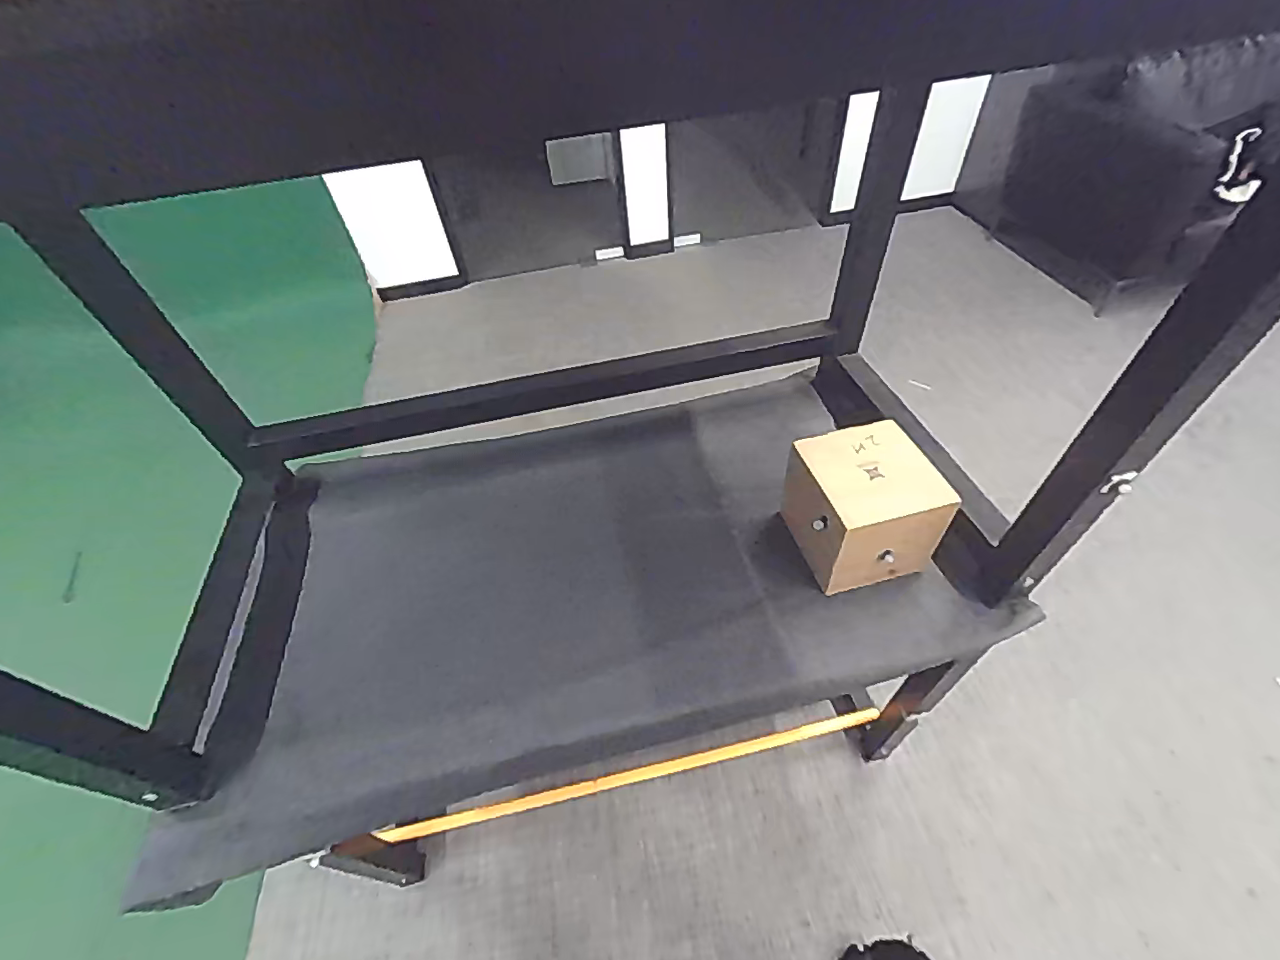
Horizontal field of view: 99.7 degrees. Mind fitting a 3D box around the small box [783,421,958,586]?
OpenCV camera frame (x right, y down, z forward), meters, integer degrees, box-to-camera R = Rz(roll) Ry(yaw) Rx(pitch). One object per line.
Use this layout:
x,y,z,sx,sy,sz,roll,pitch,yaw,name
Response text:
0.333,0.043,0.822,0.168,0.176,0.179,-13,47,-6,small box
